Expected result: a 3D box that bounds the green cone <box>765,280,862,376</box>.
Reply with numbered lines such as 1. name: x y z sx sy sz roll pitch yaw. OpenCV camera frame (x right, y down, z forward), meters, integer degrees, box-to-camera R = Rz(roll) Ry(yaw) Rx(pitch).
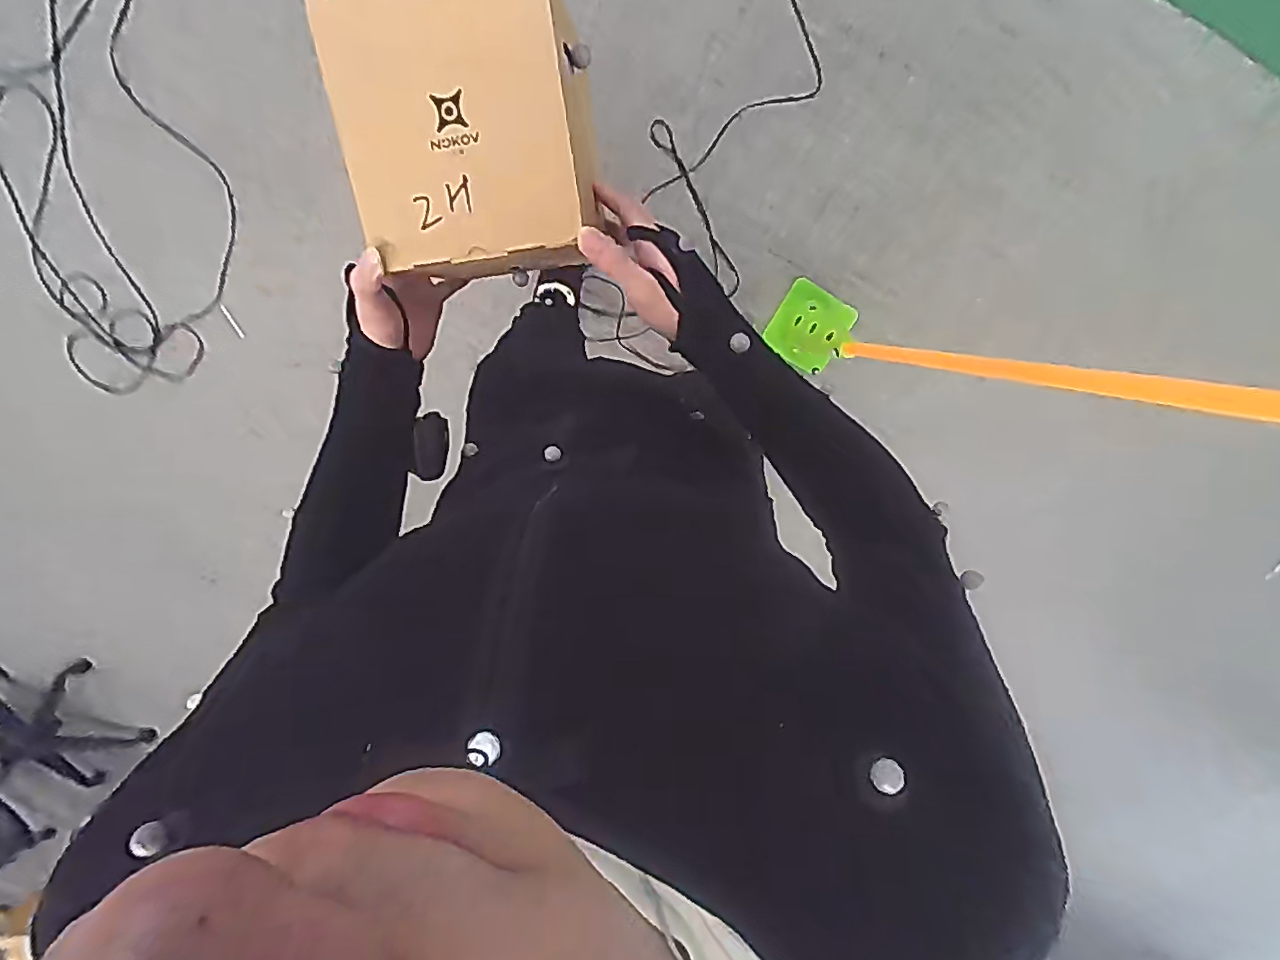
1. green cone: 0.454 -0.341 1.281 0.202 0.368 0.200 27 110 -7
